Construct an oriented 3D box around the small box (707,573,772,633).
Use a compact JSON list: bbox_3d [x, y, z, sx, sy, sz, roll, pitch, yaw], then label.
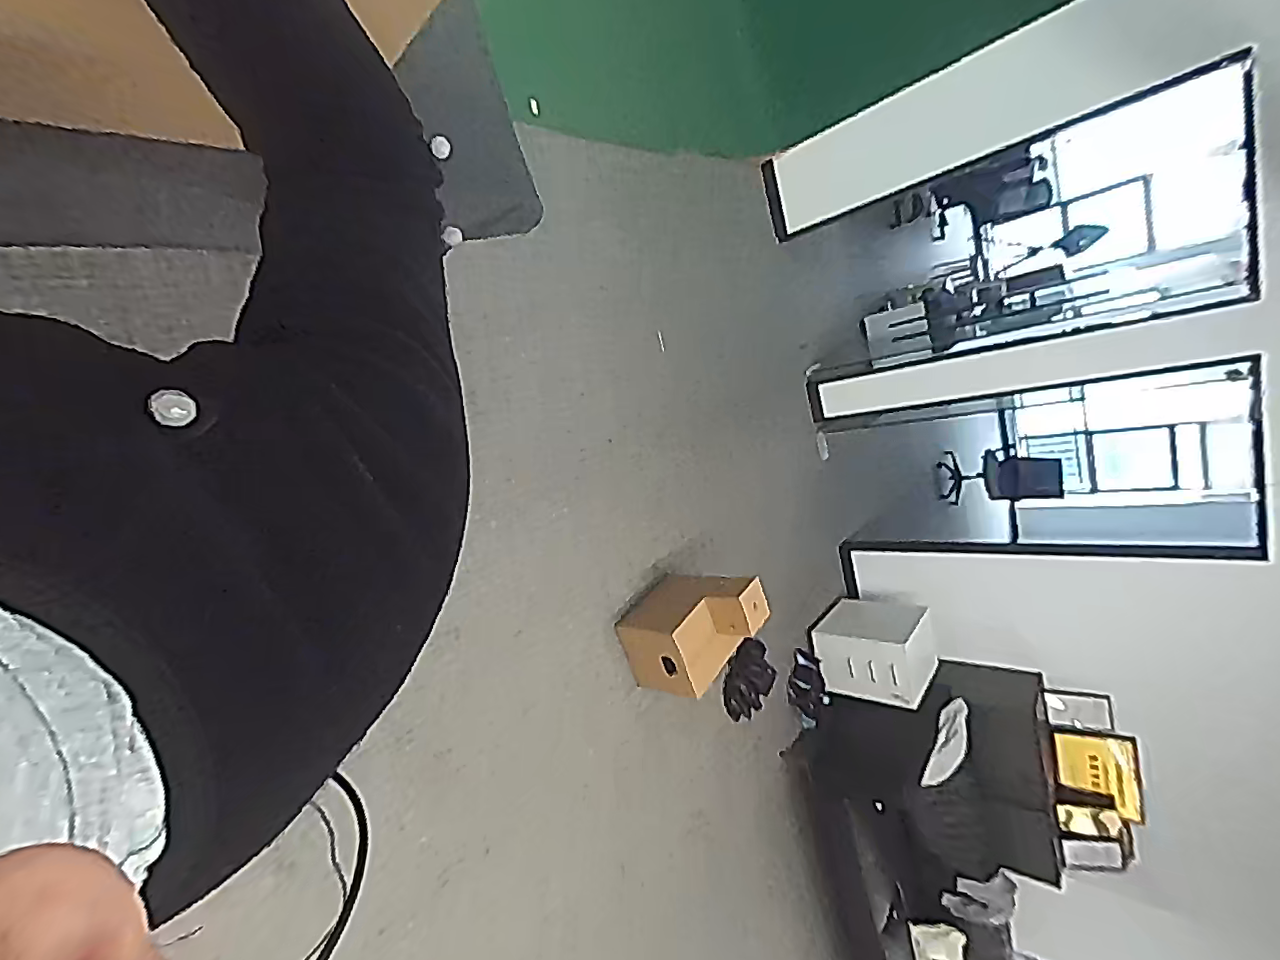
[{"bbox_3d":[0.397,0.490,2.173,0.168,0.176,0.179,-34,106,-45],"label":"small box"}]
